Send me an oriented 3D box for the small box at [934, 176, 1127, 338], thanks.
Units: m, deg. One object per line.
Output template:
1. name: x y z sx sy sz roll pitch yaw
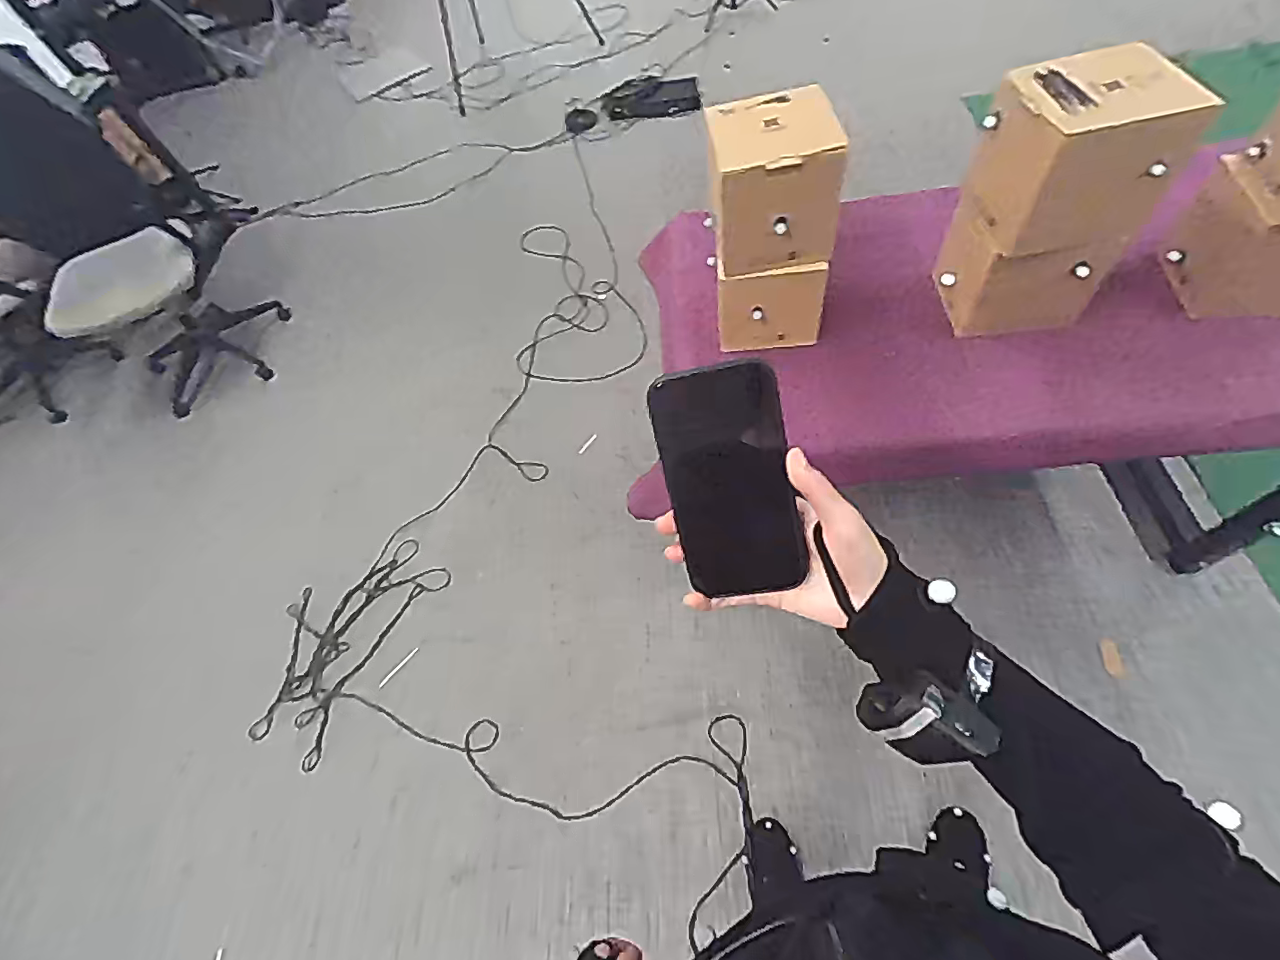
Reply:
1. small box: 0.604 -0.349 0.865 0.179 0.176 0.168 -4 58 10

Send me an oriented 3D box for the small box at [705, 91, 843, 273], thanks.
1. small box: 0.192 -0.432 0.808 0.168 0.176 0.179 -7 59 7

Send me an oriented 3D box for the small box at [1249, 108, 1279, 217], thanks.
1. small box: 0.918 -0.429 0.657 0.179 0.176 0.168 2 59 12

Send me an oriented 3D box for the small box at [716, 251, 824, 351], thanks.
1. small box: 0.221 -0.341 0.942 0.168 0.176 0.179 -3 58 10

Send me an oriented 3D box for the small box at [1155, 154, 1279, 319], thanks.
1. small box: 0.939 -0.358 0.803 0.179 0.176 0.168 2 59 13
